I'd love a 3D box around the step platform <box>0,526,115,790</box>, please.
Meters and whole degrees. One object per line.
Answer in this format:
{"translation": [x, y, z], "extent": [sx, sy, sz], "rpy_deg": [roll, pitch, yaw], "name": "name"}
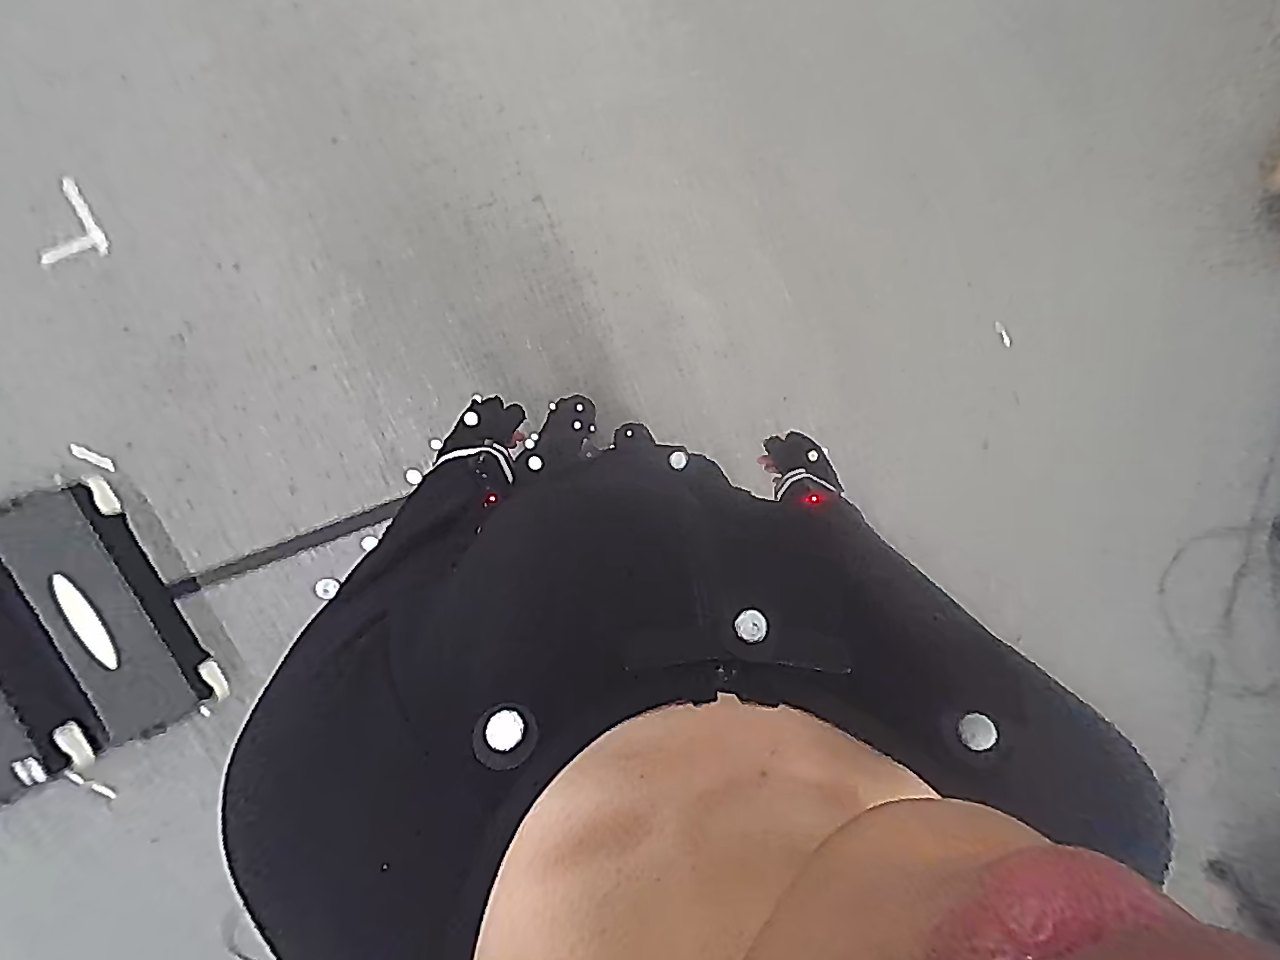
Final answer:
{"translation": [-1.649, 0.425, 1.318], "extent": [0.286, 0.204, 0.684], "rpy_deg": [-23, 98, -1], "name": "step platform"}
